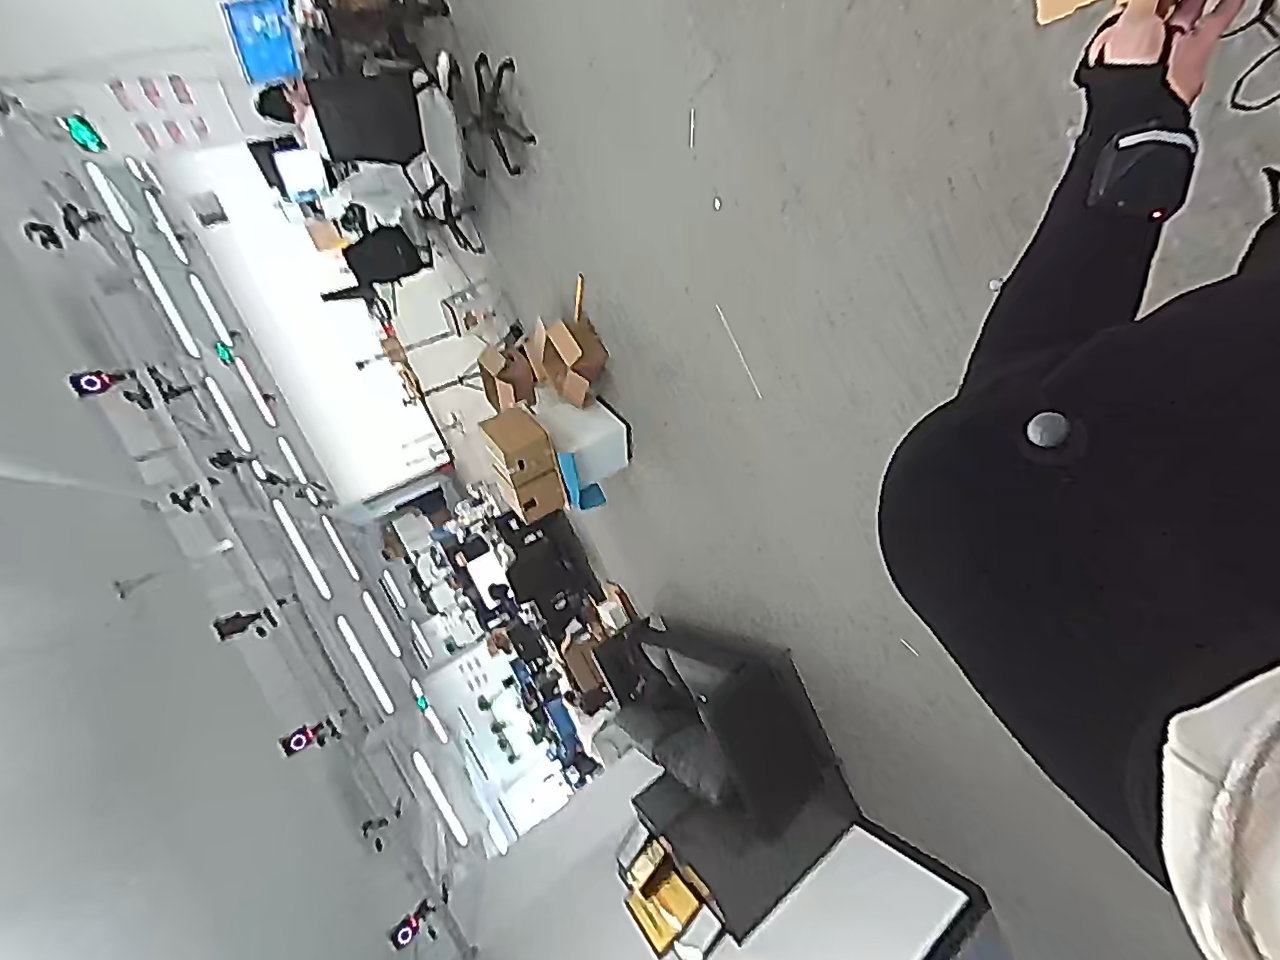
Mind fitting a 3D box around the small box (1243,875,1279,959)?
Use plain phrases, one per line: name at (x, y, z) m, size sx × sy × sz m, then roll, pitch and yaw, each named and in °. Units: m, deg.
small box at (1.014, 0.729, 0.774) m, size 0.168 × 0.176 × 0.179 m, roll 8°, pitch 121°, yaw 61°
